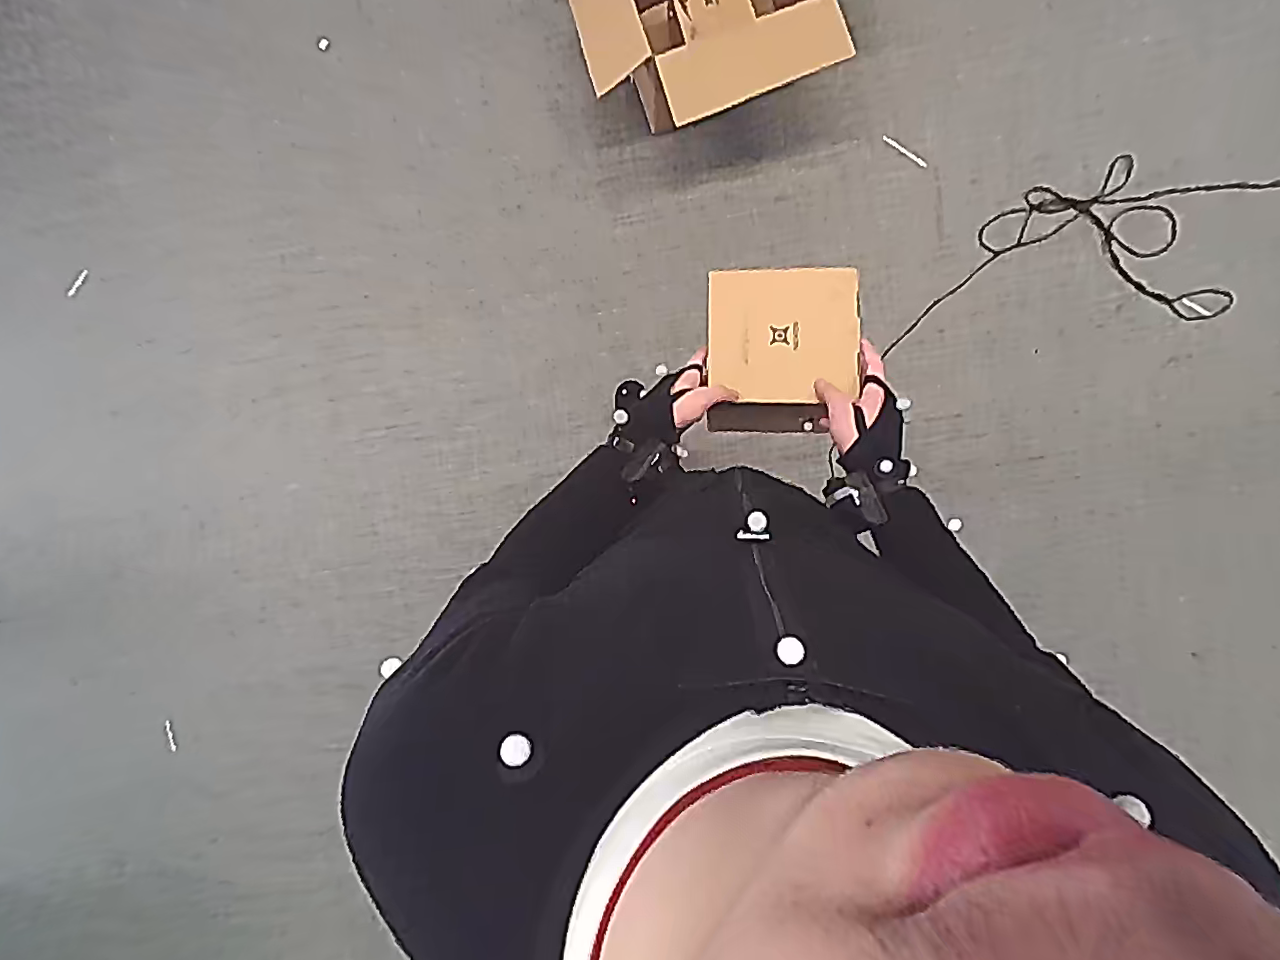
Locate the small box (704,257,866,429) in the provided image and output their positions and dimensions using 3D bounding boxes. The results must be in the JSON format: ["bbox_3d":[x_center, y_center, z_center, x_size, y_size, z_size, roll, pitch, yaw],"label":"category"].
[{"bbox_3d":[0.176,-0.166,0.698,0.179,0.176,0.168,3,81,8],"label":"small box"}]
